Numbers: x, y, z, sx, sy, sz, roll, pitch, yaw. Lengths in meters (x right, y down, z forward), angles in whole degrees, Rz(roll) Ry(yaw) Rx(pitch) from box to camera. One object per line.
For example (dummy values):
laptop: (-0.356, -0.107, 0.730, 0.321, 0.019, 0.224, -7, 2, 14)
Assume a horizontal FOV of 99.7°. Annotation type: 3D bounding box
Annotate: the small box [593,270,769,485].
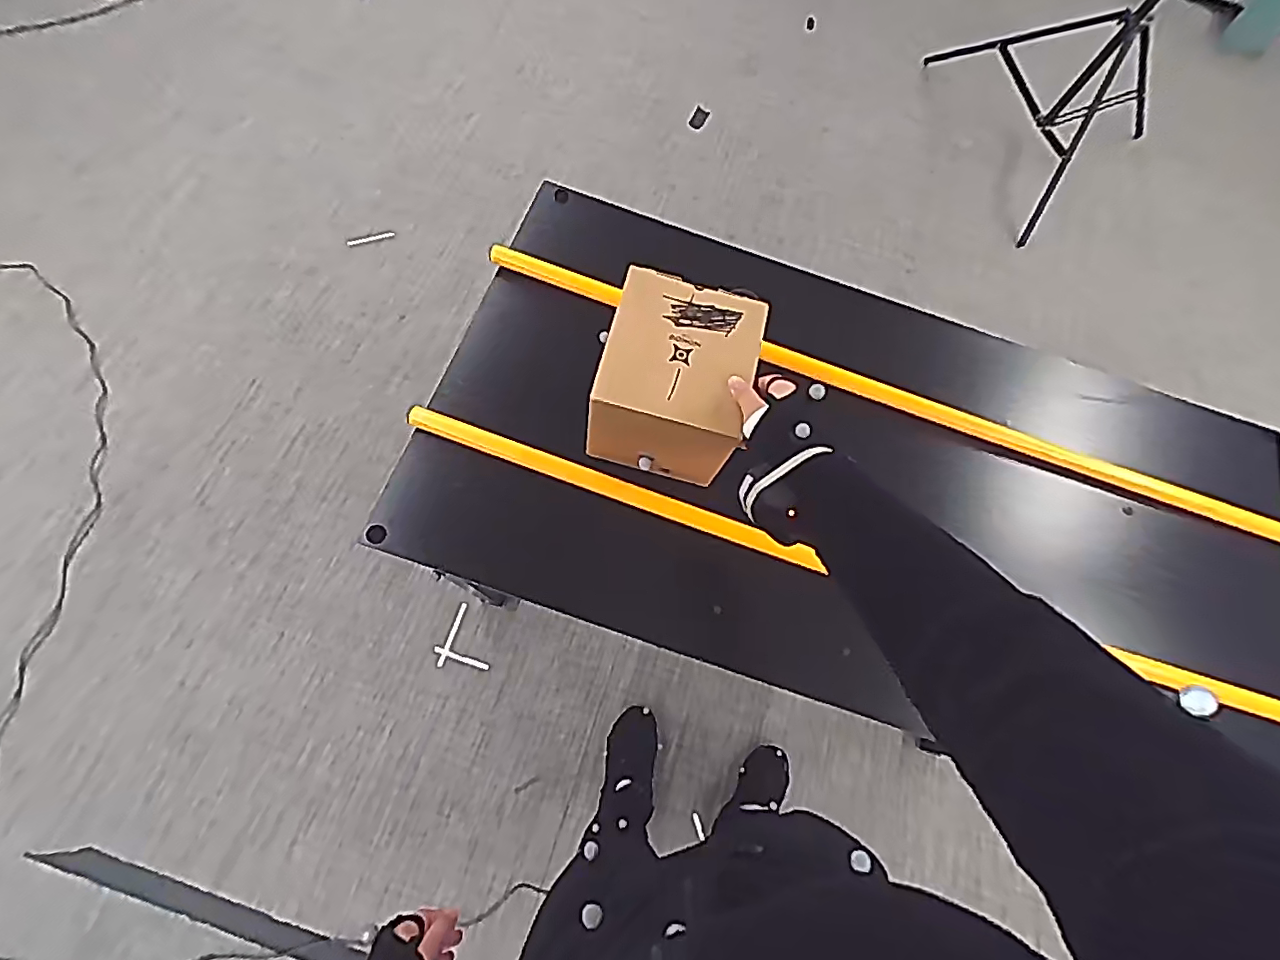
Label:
small box: (0.041, -0.115, 0.663, 0.168, 0.176, 0.179, 15, 71, -1)
